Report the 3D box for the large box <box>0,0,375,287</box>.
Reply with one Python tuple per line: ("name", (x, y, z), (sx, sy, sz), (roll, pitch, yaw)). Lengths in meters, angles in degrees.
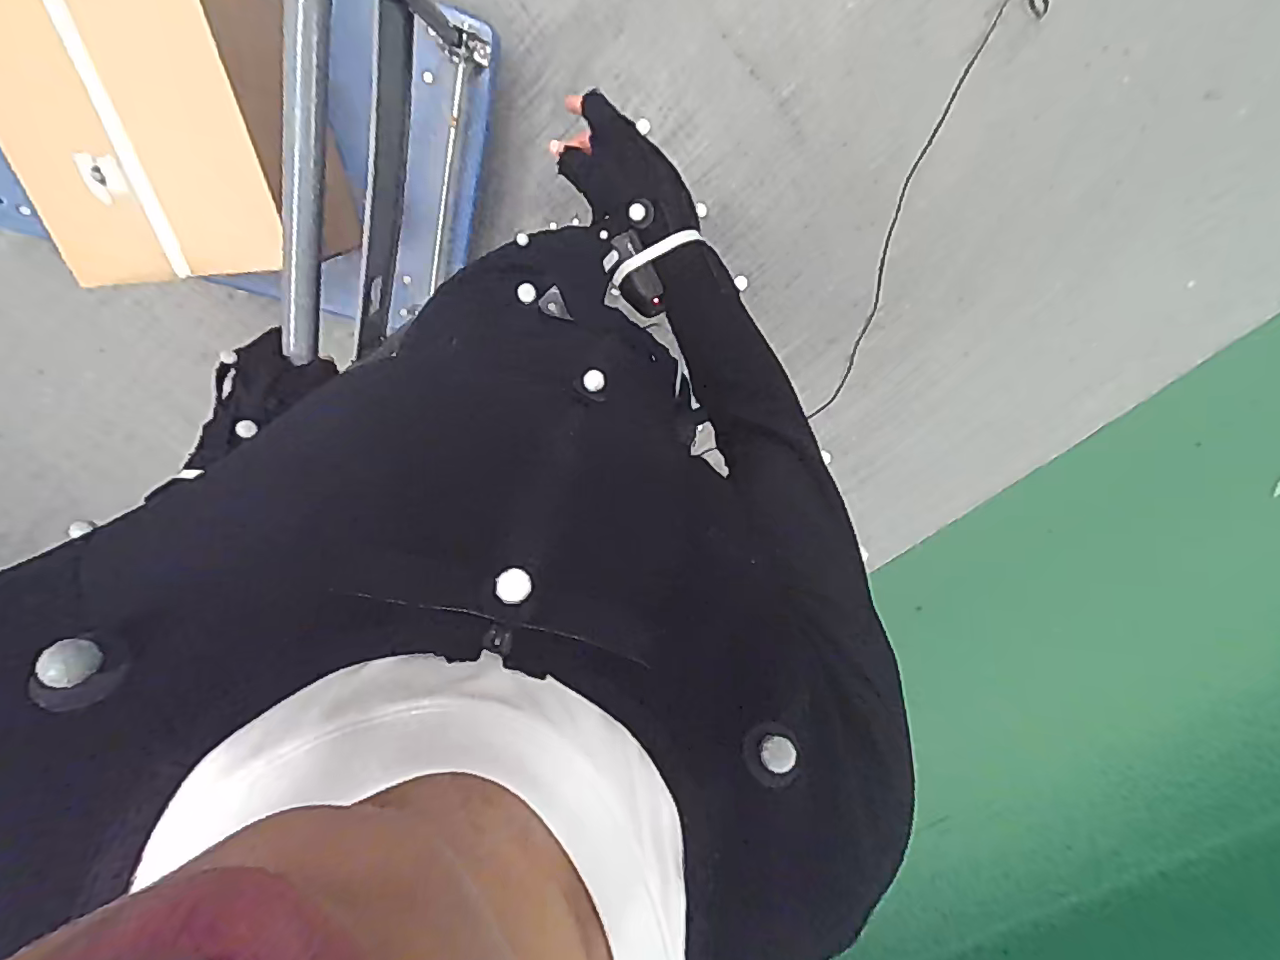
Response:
("large box", (-0.675, -0.554, 0.846), (0.320, 0.320, 0.408), (-7, 121, -2))
